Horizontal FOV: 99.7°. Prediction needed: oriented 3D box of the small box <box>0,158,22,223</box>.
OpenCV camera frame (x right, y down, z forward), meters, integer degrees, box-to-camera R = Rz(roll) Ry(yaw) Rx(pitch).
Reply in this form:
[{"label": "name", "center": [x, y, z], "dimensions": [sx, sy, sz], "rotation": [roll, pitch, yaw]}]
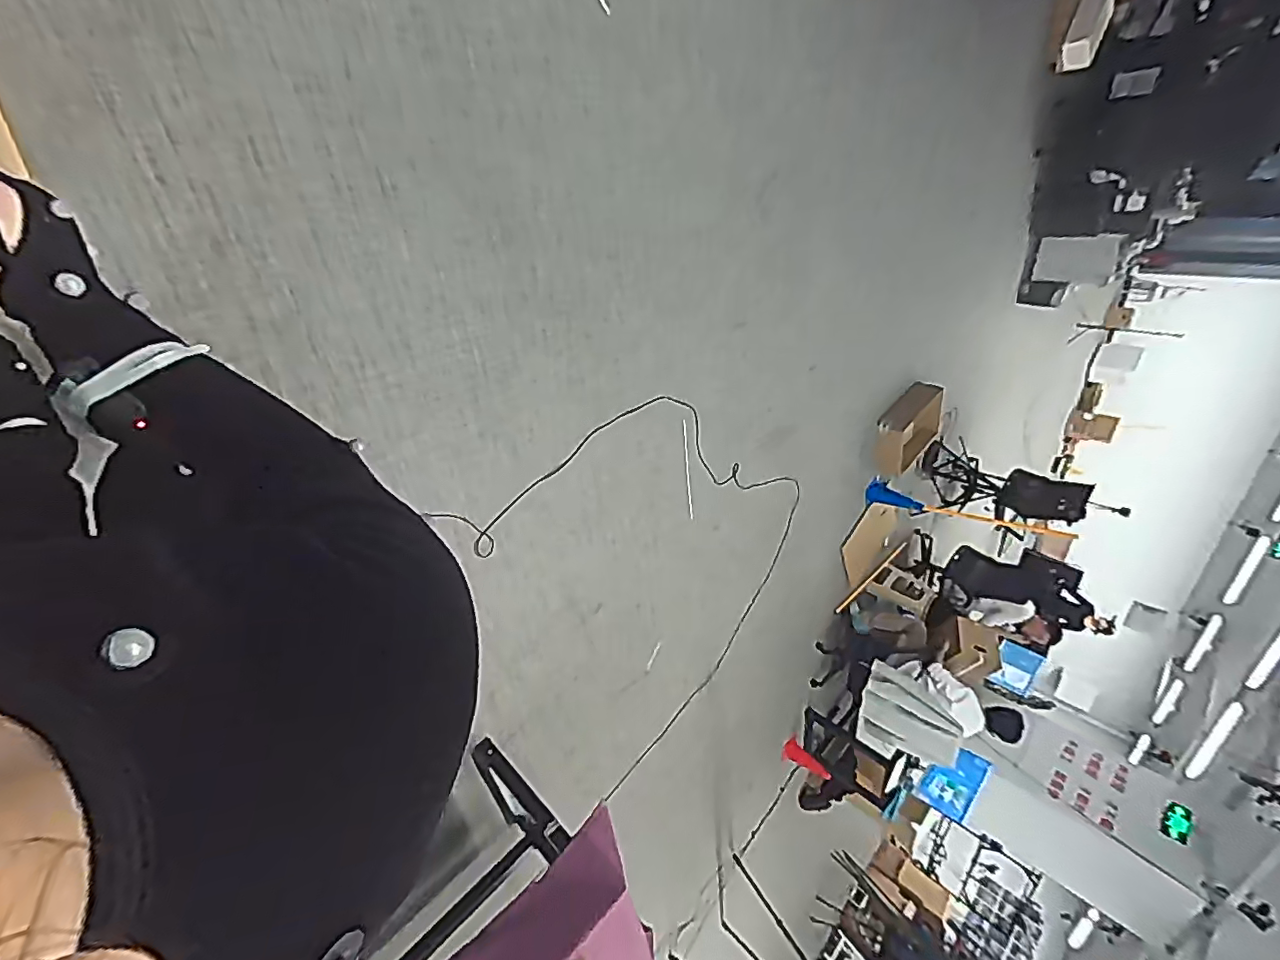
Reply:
[{"label": "small box", "center": [-0.674, -0.315, 0.451], "dimensions": [0.168, 0.176, 0.179], "rotation": [-23, 122, -38]}]
